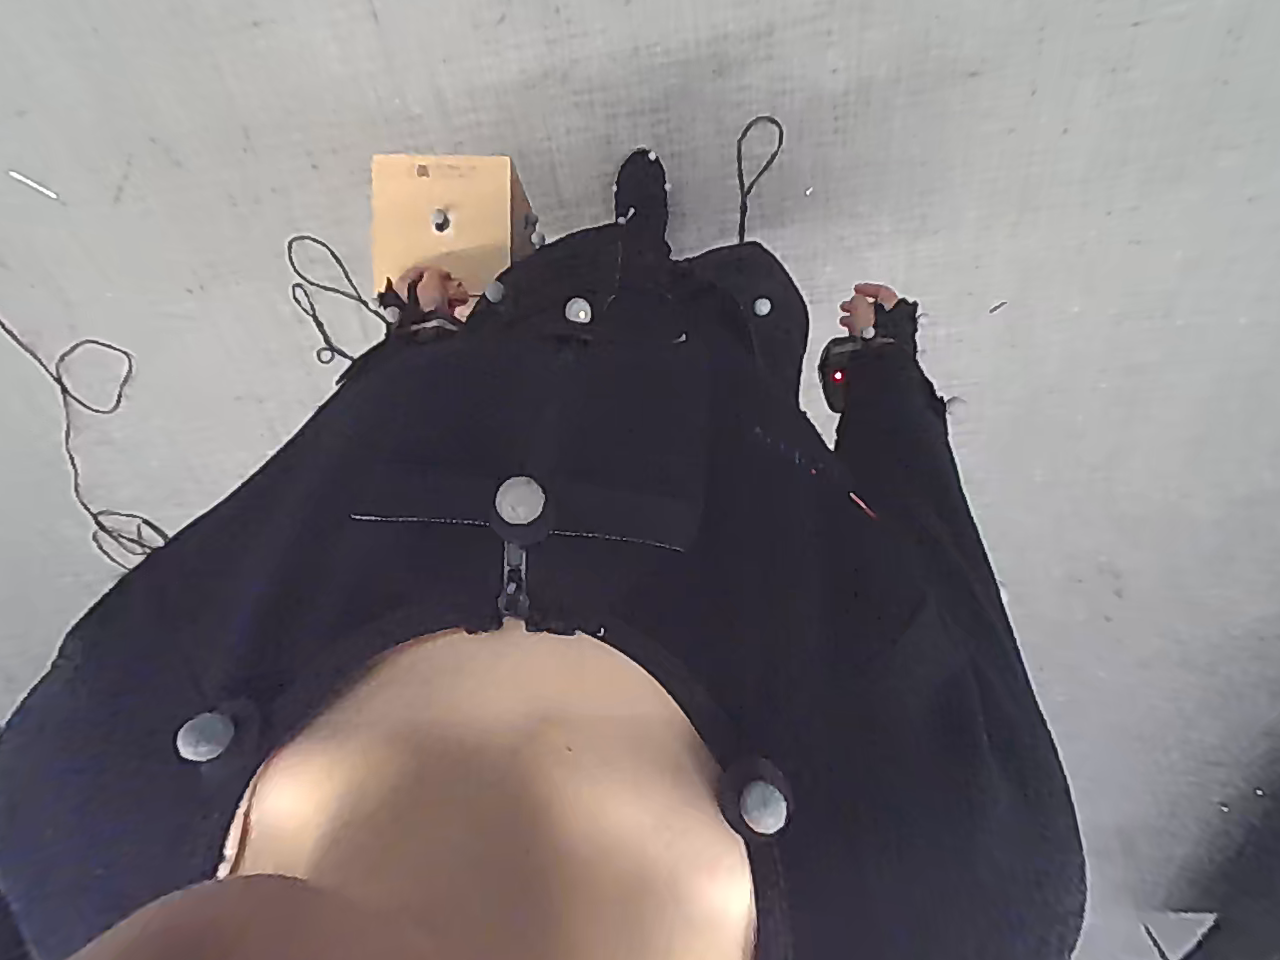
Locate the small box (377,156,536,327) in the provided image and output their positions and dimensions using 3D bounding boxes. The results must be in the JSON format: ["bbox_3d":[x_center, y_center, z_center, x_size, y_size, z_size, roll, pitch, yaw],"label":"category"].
[{"bbox_3d":[-0.236,-0.310,0.727,0.168,0.179,0.176,-1,94,-2],"label":"small box"}]
